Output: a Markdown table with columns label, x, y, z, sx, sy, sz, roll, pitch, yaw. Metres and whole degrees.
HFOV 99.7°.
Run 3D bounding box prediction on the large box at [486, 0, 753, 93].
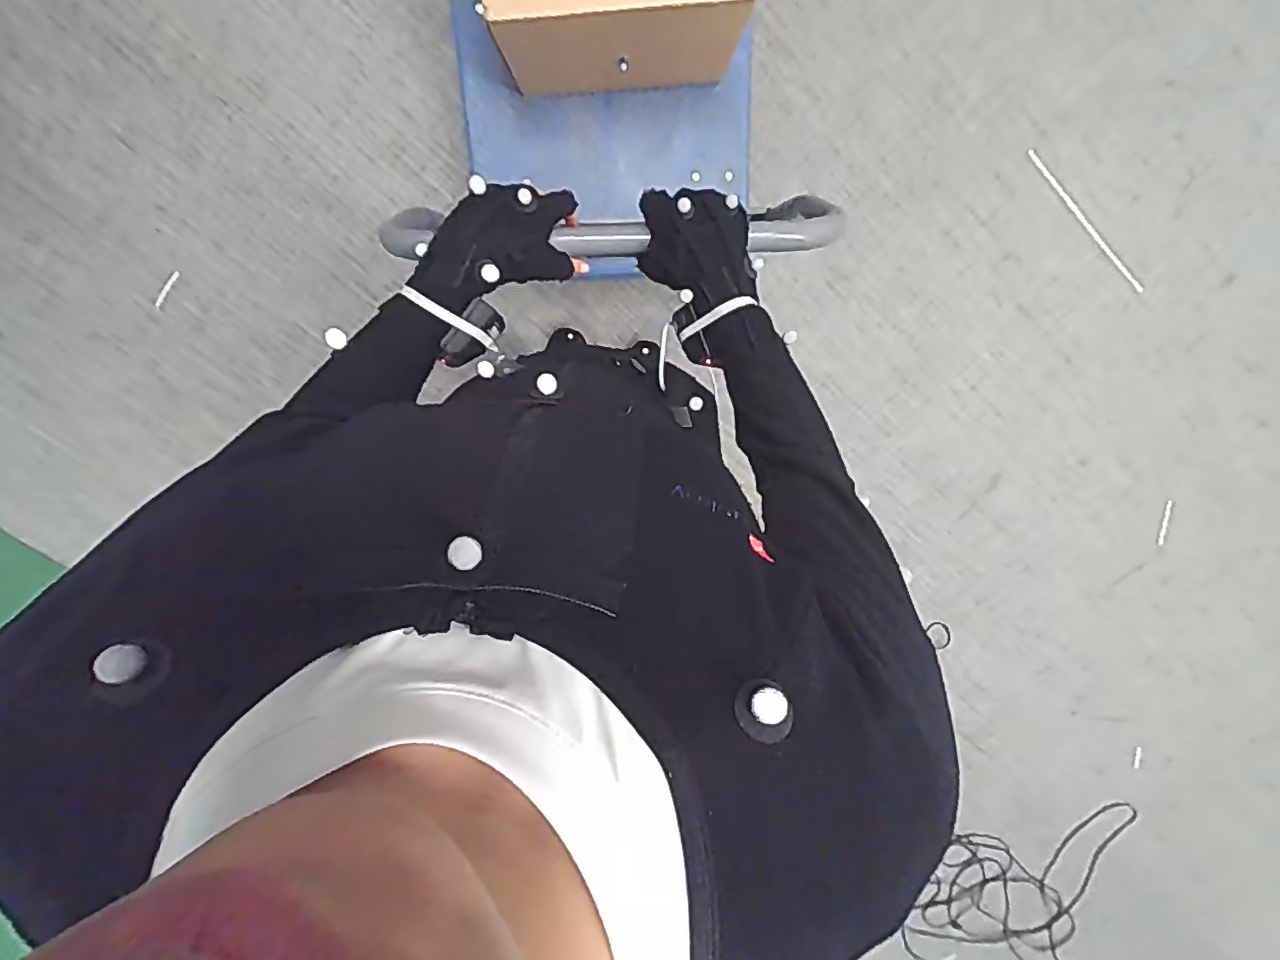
| label | x | y | z | sx | sy | sz | roll | pitch | yaw |
| --- | --- | --- | --- | --- | --- | --- | --- | --- | --- |
| large box | -0.041 | -0.884 | 0.888 | 0.408 | 0.320 | 0.320 | -5 | 107 | 0 |
